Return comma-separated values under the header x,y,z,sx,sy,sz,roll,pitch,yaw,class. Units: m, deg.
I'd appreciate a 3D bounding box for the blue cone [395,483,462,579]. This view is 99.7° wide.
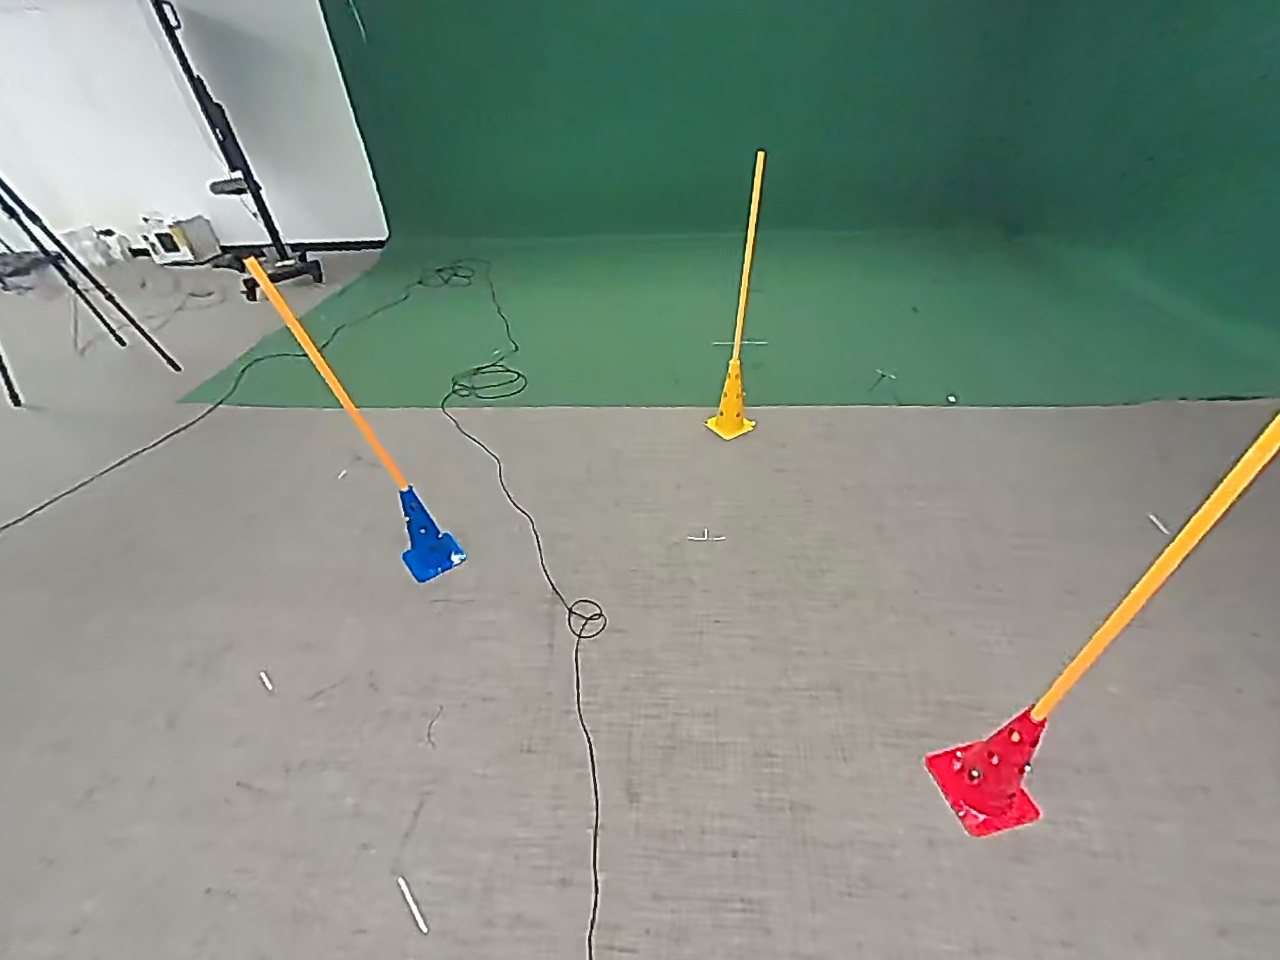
x,y,z,sx,sy,sz,roll,pitch,yaw,class
-0.813,0.168,1.985,0.193,0.380,0.192,-32,48,-27,blue cone
